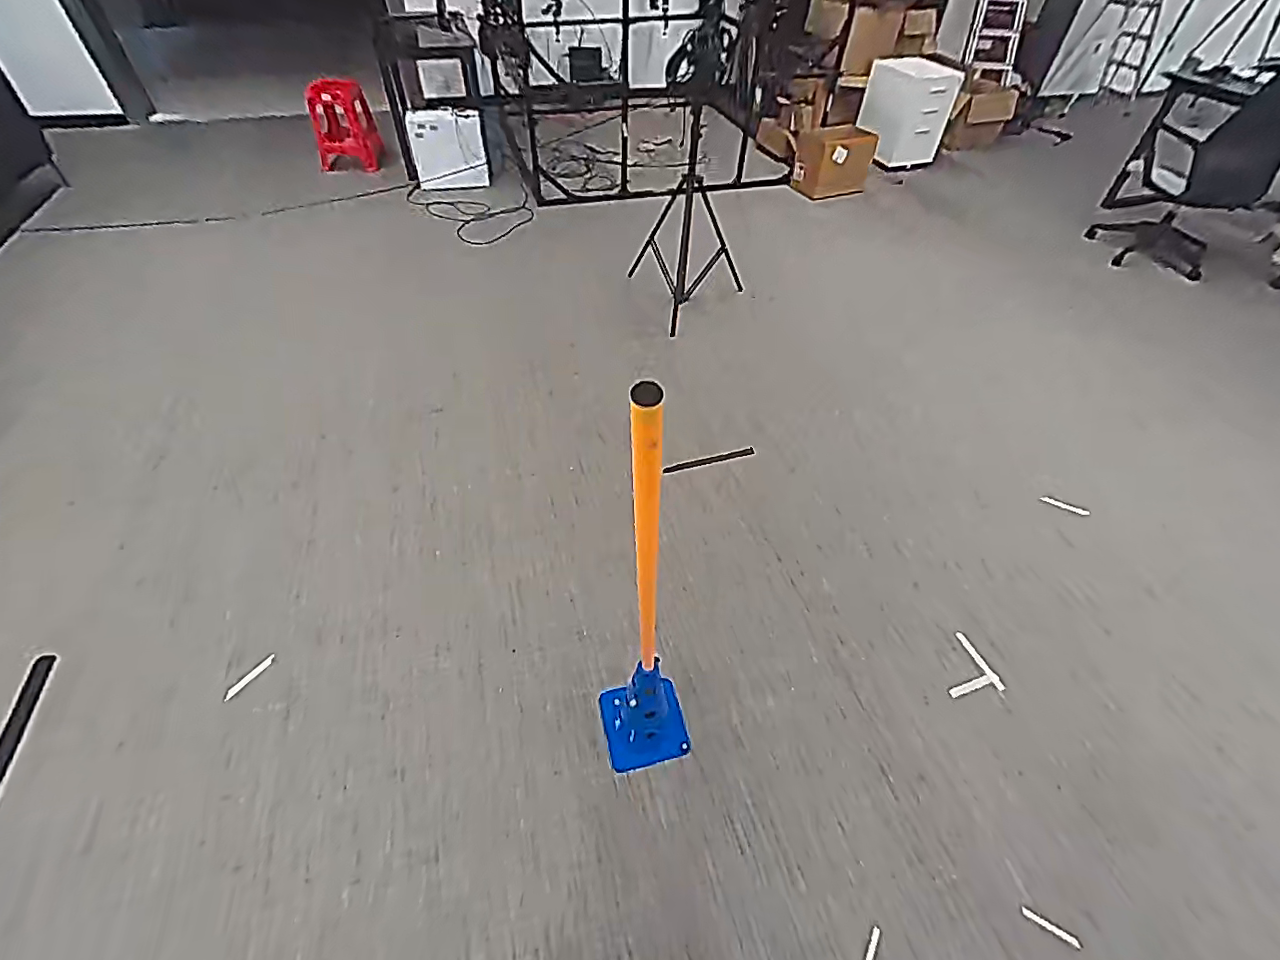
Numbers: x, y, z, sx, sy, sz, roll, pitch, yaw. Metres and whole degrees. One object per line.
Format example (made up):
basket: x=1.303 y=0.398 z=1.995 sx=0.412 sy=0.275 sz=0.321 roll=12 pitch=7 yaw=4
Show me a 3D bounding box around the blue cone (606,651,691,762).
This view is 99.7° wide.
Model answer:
blue cone: x=0.023 y=0.494 z=1.248 sx=0.192 sy=0.380 sz=0.193 roll=-9 pitch=49 yaw=-10
